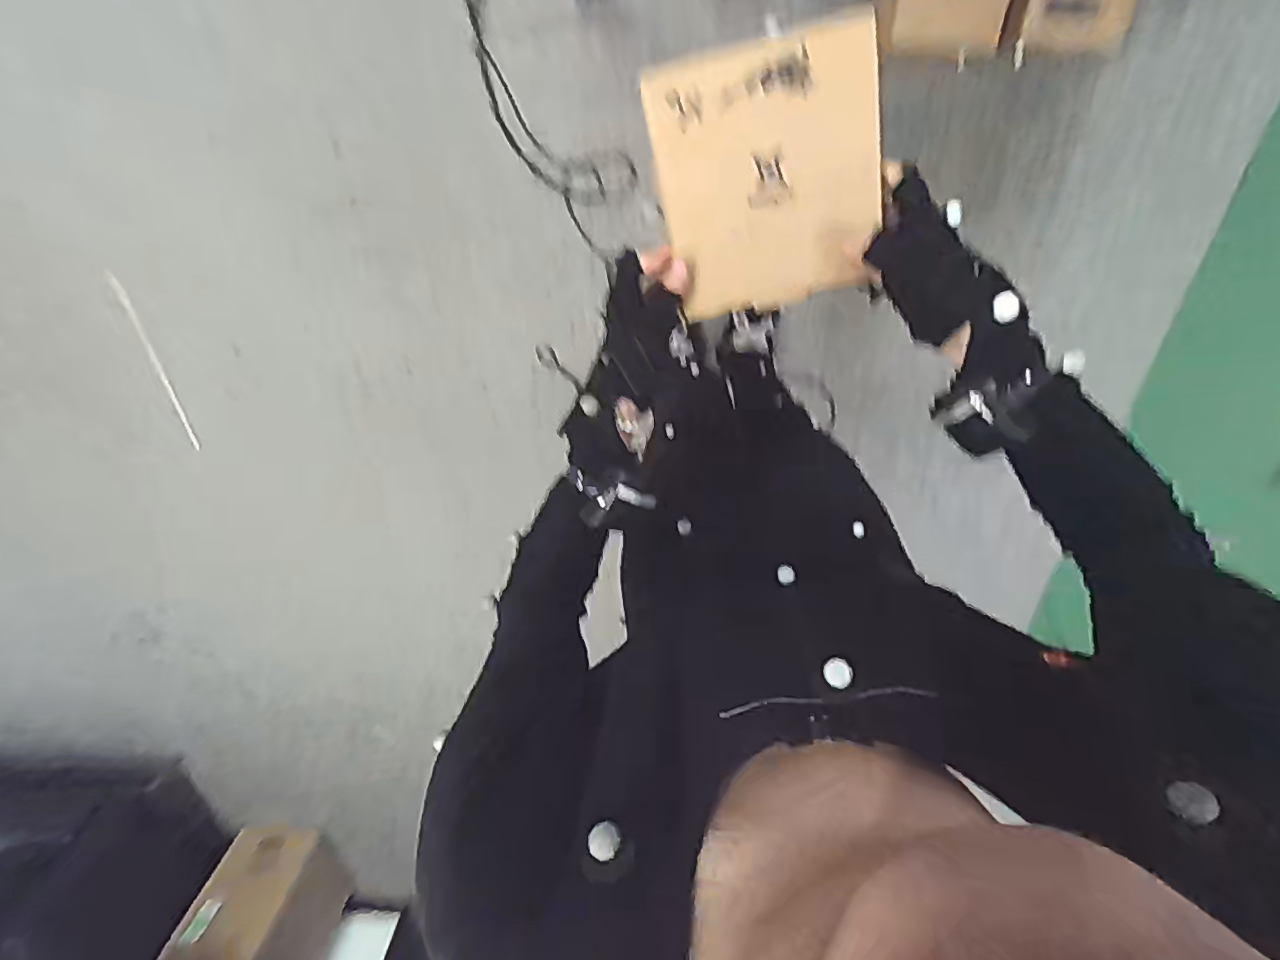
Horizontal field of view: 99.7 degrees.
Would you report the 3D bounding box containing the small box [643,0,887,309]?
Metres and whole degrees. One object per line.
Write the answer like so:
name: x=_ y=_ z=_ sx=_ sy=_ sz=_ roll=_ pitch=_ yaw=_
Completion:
small box: x=0.101 y=-0.268 z=0.473 sx=0.168 sy=0.176 sz=0.179 roll=-11 pitch=117 yaw=6
